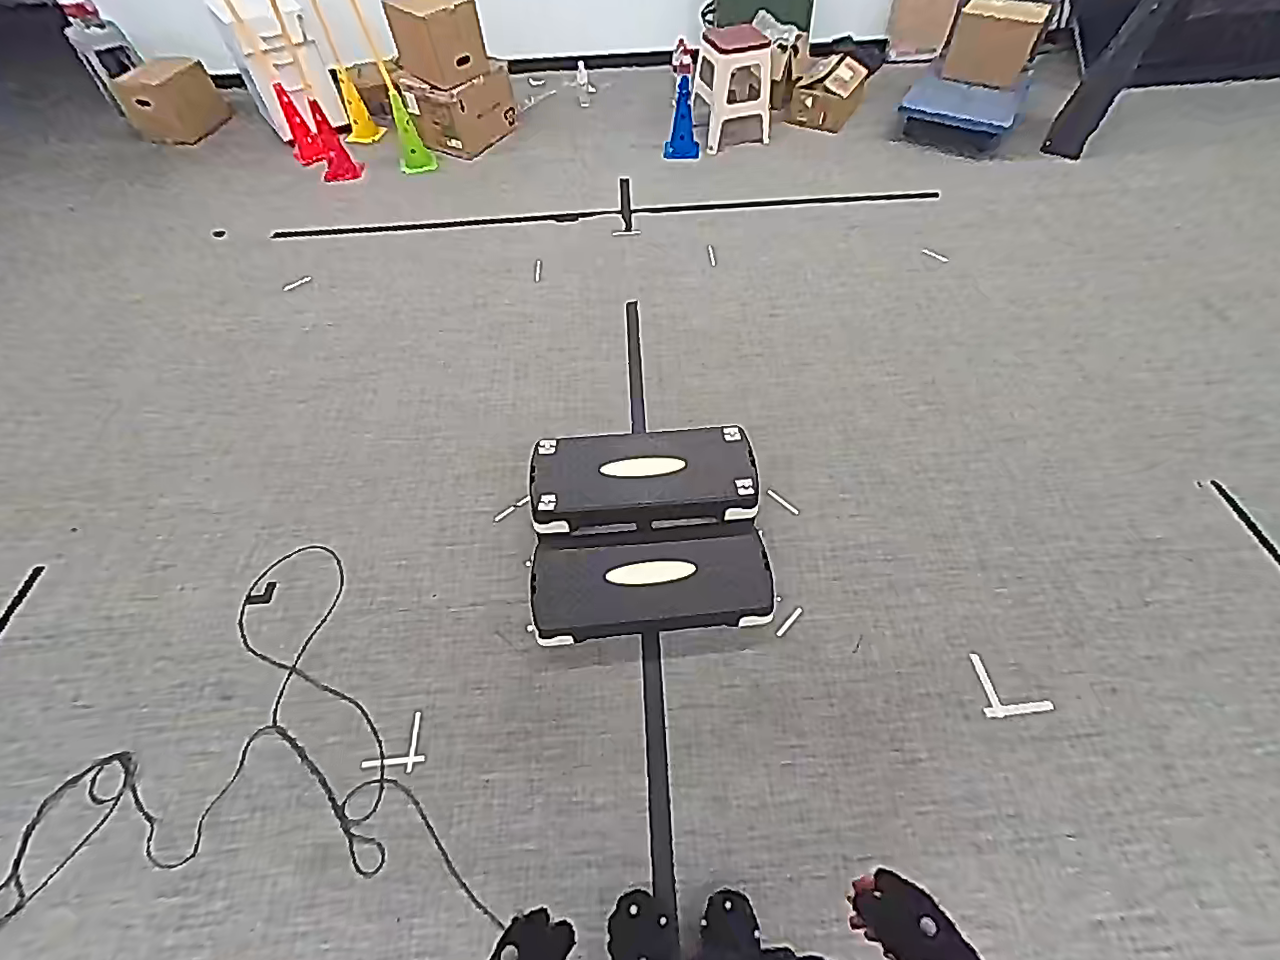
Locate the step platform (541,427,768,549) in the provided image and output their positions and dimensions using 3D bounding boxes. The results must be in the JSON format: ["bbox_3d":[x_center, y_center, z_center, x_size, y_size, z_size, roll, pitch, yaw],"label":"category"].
[{"bbox_3d":[0.042,0.018,1.664,0.684,0.204,0.286,-5,55,-3],"label":"step platform"}]
